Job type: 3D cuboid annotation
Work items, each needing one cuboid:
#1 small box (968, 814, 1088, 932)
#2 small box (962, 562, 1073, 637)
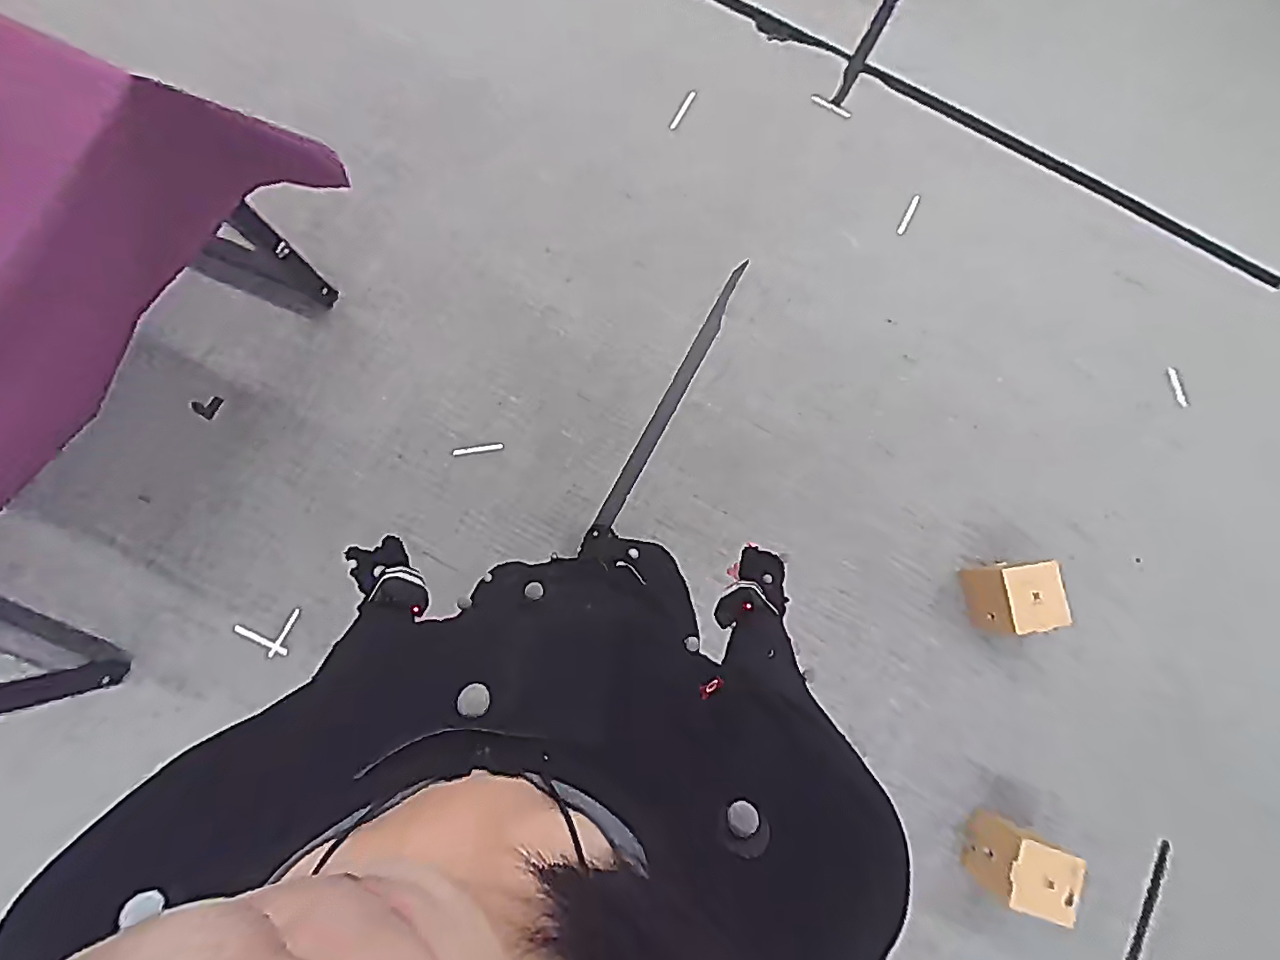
[{"bbox_3d":[0.994,1.003,1.400,0.179,0.176,0.168,20,81,0],"label":"small box"},{"bbox_3d":[1.041,0.327,1.505,0.168,0.176,0.179,-8,82,-6],"label":"small box"}]
